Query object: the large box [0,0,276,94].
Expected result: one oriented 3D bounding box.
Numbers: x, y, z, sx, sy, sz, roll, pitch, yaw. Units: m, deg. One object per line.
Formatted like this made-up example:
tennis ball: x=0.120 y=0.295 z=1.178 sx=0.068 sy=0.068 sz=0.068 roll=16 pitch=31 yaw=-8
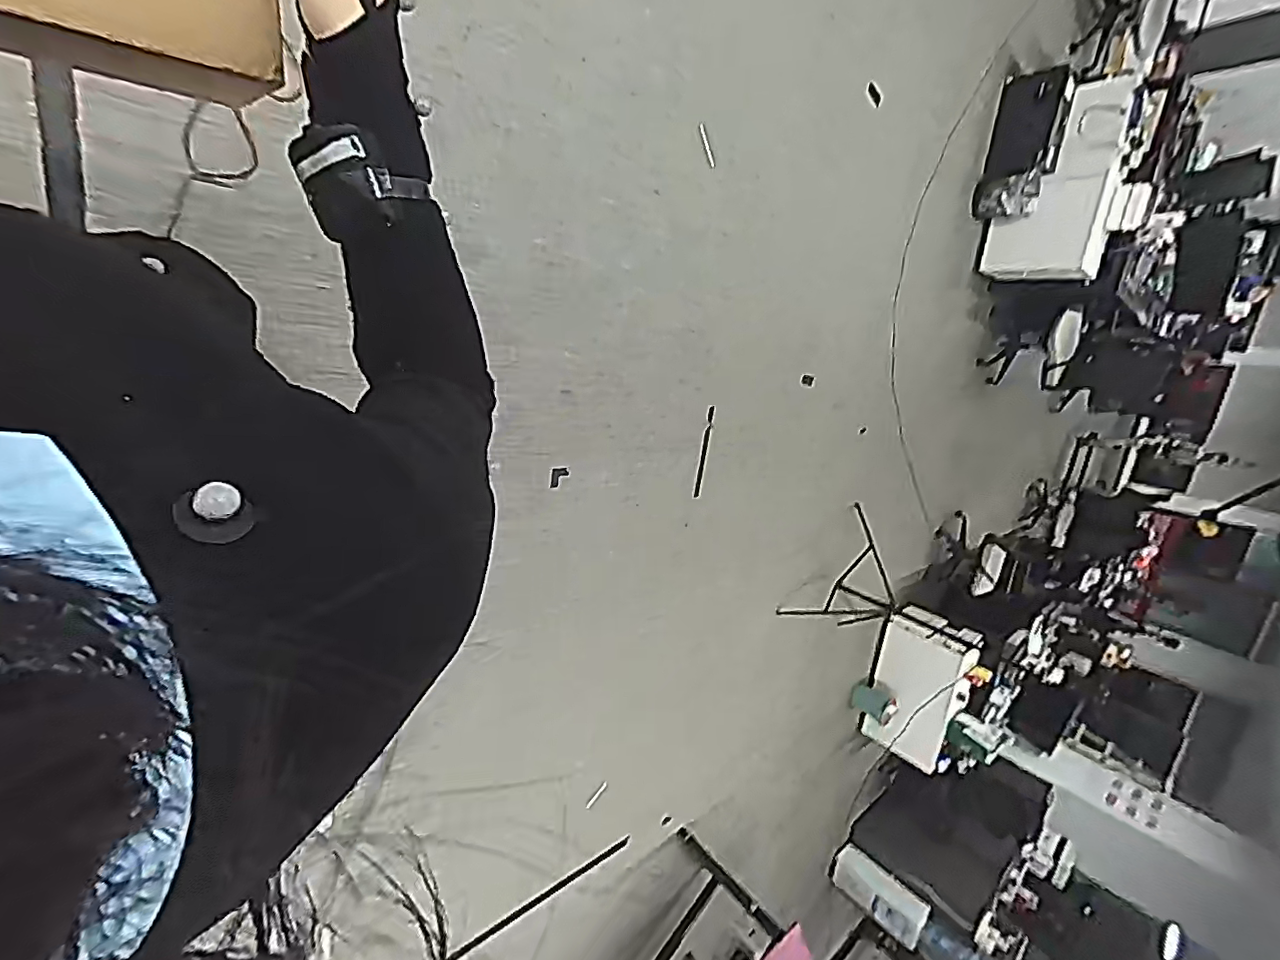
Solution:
large box: x=-0.471 y=-0.456 z=0.300 sx=0.408 sy=0.320 sz=0.320 roll=-8 pitch=119 yaw=-37
